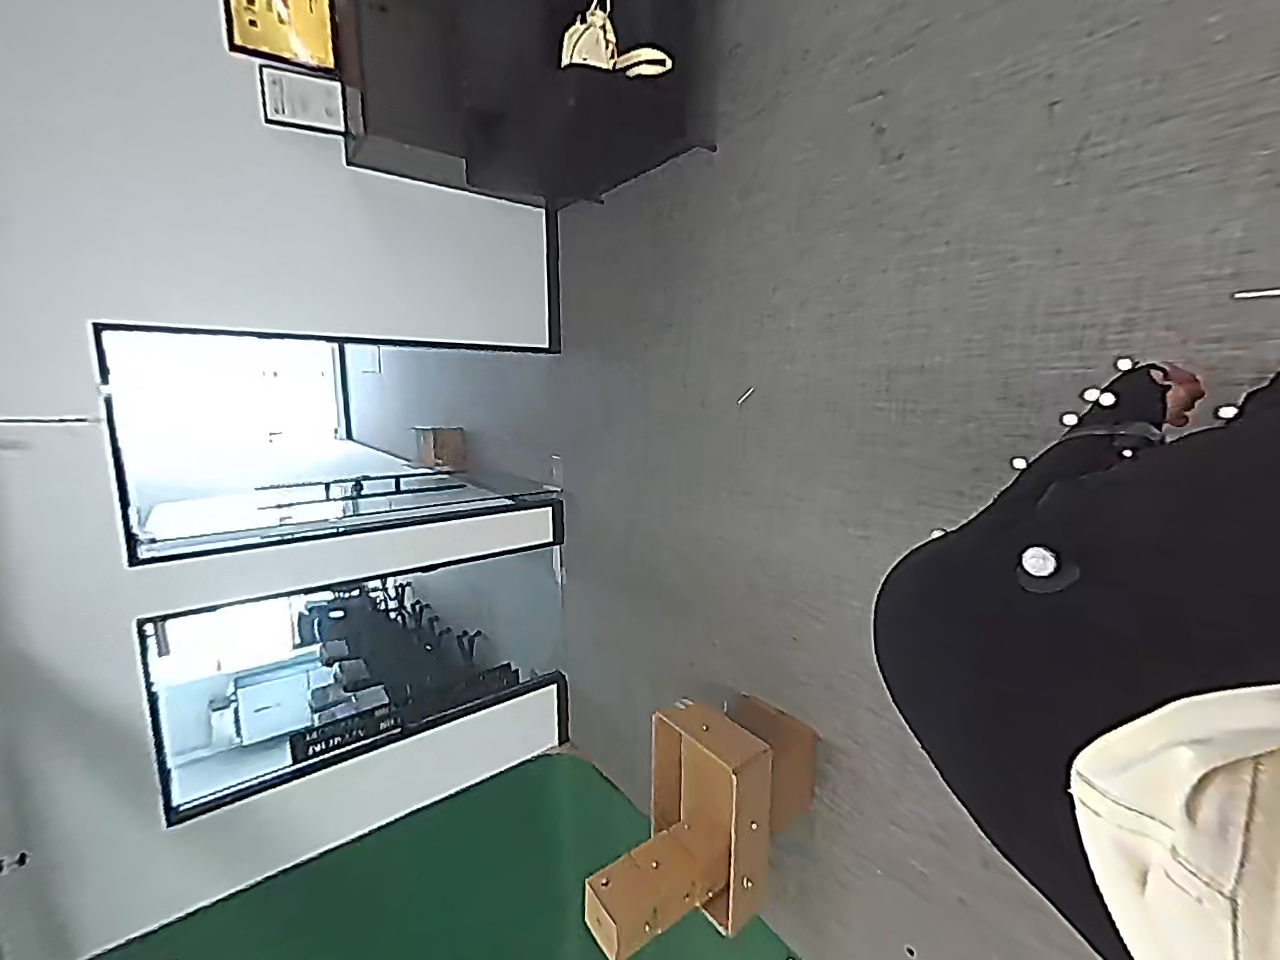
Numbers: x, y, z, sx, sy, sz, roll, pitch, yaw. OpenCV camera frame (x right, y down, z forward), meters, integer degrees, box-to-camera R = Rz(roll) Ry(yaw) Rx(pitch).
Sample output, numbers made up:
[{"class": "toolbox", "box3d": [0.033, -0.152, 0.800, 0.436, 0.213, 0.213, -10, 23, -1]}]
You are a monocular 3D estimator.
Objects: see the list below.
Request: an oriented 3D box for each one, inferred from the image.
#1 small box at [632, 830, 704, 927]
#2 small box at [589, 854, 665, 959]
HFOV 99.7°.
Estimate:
[{"class": "small box", "box3d": [0.089, 1.309, 1.797, 0.179, 0.176, 0.168, 16, 110, 51]}, {"class": "small box", "box3d": [-0.044, 1.327, 1.700, 0.179, 0.176, 0.168, 20, 112, 50]}]
